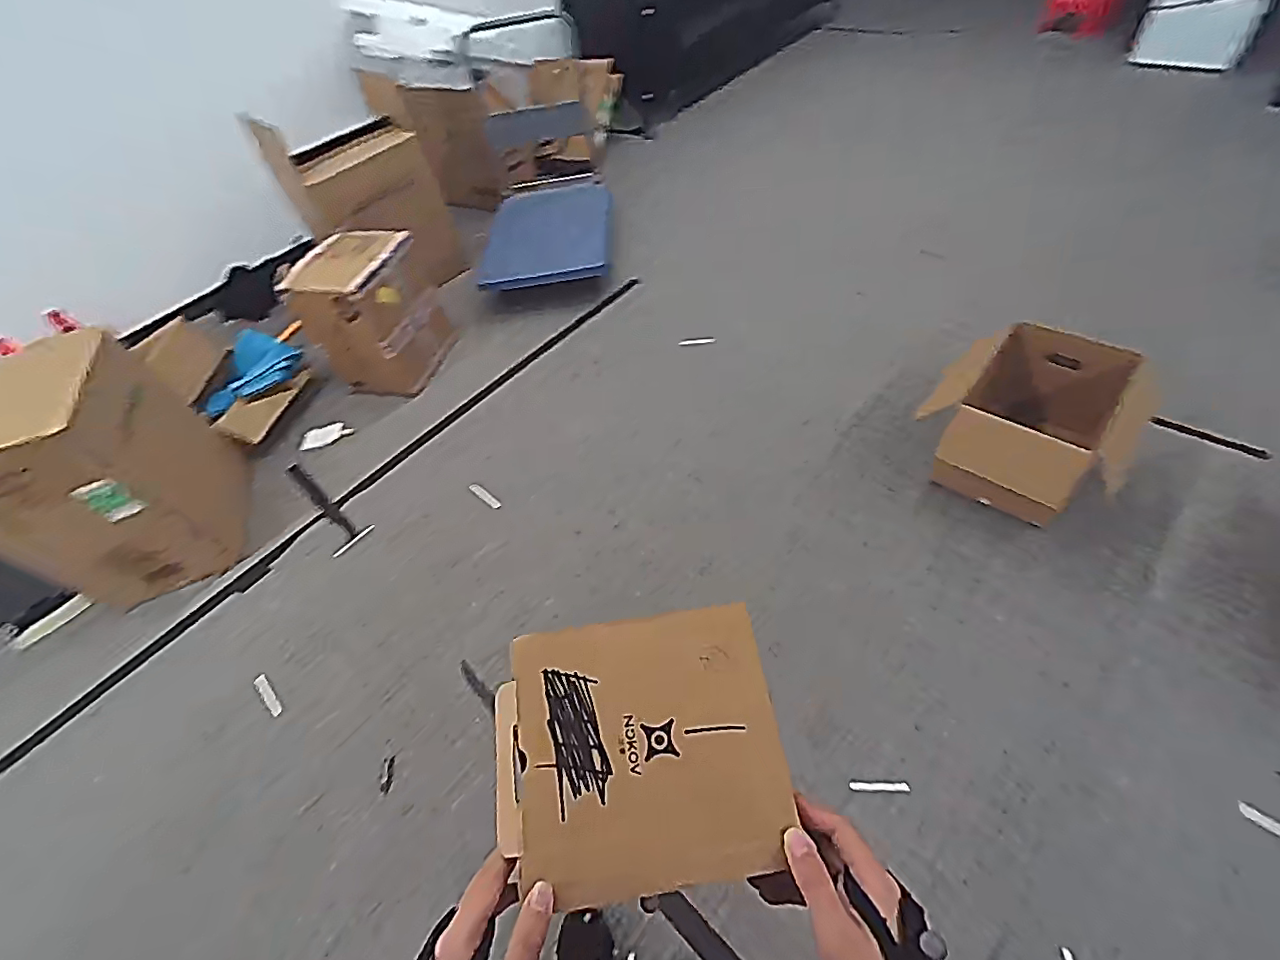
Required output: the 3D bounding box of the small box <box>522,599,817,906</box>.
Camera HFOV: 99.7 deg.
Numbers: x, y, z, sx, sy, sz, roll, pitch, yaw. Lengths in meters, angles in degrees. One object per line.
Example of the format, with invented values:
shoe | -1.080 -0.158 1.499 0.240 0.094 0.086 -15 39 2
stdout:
small box | 0.012 0.207 0.424 0.179 0.176 0.168 -7 61 -4
